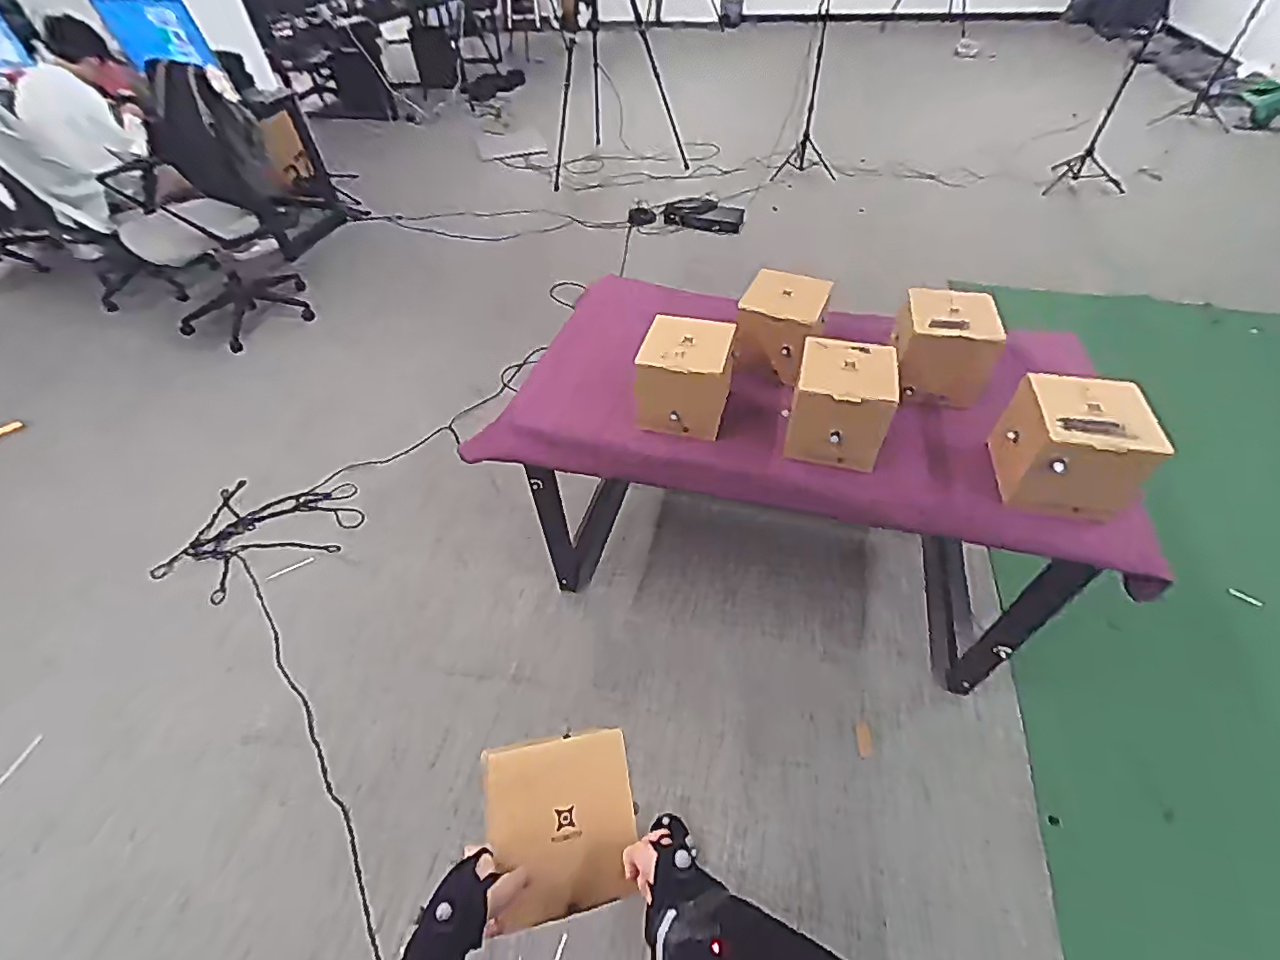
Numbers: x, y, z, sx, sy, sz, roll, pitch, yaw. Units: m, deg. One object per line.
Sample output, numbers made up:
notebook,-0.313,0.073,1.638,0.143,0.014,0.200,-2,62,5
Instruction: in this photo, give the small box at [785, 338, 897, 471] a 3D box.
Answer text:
small box,0.376,-0.141,1.022,0.168,0.176,0.179,12,49,13

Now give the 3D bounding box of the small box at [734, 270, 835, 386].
small box,0.315,-0.337,1.203,0.168,0.176,0.179,20,52,18

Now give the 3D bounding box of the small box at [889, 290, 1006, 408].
small box,0.625,-0.272,1.129,0.168,0.176,0.179,10,48,11

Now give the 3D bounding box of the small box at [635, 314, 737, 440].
small box,0.093,-0.208,1.095,0.168,0.176,0.179,11,49,13

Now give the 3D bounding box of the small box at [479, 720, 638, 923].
small box,-0.114,0.412,0.687,0.168,0.176,0.179,-1,68,-19
